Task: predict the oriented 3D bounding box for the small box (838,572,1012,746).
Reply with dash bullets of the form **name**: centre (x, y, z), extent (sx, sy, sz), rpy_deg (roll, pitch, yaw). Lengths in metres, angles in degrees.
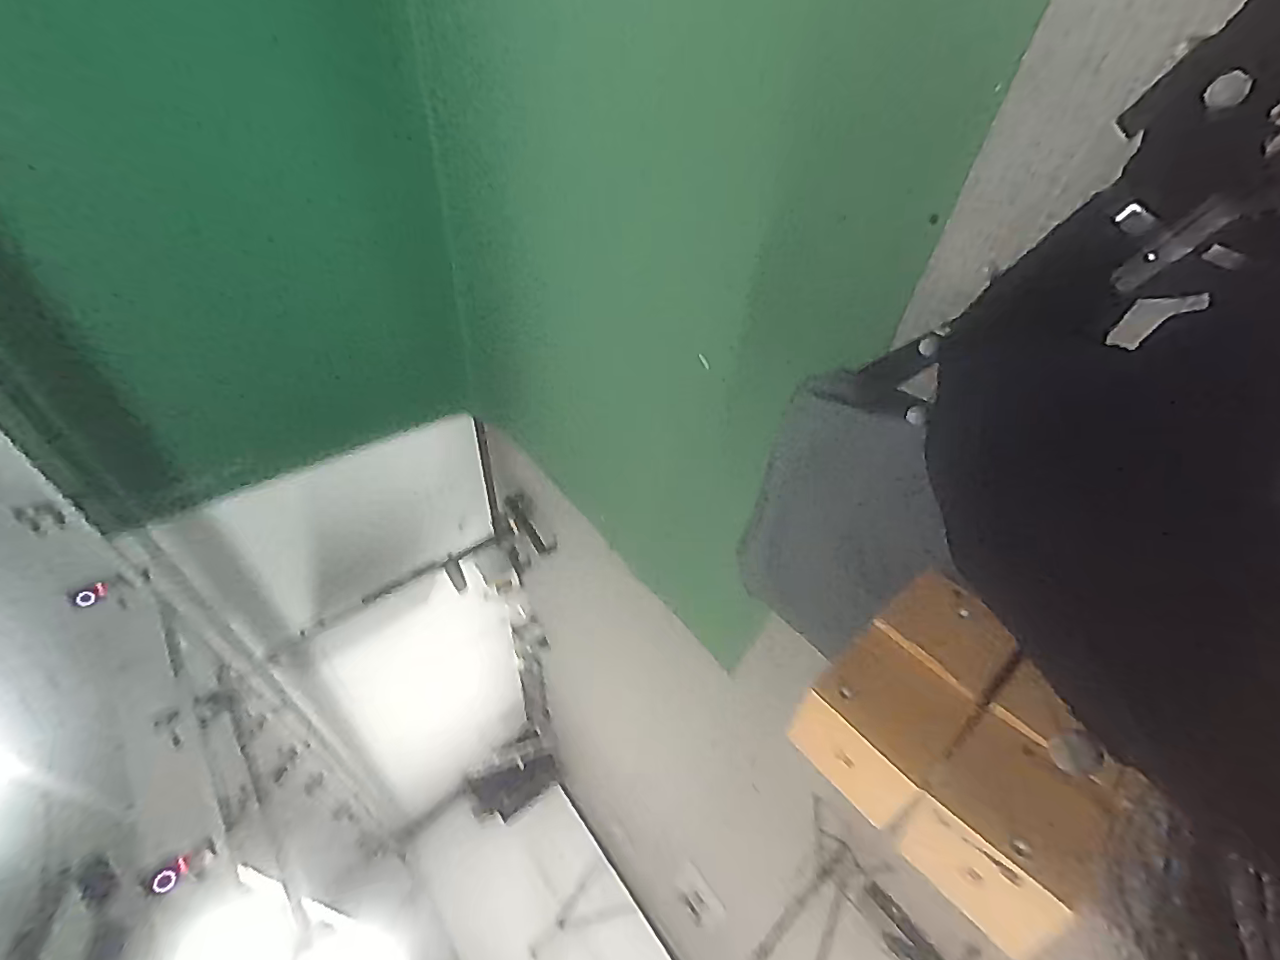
- **small box**: centre (0.466, 0.289, 0.891), extent (0.168, 0.176, 0.179), rpy_deg (40, 143, 32)
